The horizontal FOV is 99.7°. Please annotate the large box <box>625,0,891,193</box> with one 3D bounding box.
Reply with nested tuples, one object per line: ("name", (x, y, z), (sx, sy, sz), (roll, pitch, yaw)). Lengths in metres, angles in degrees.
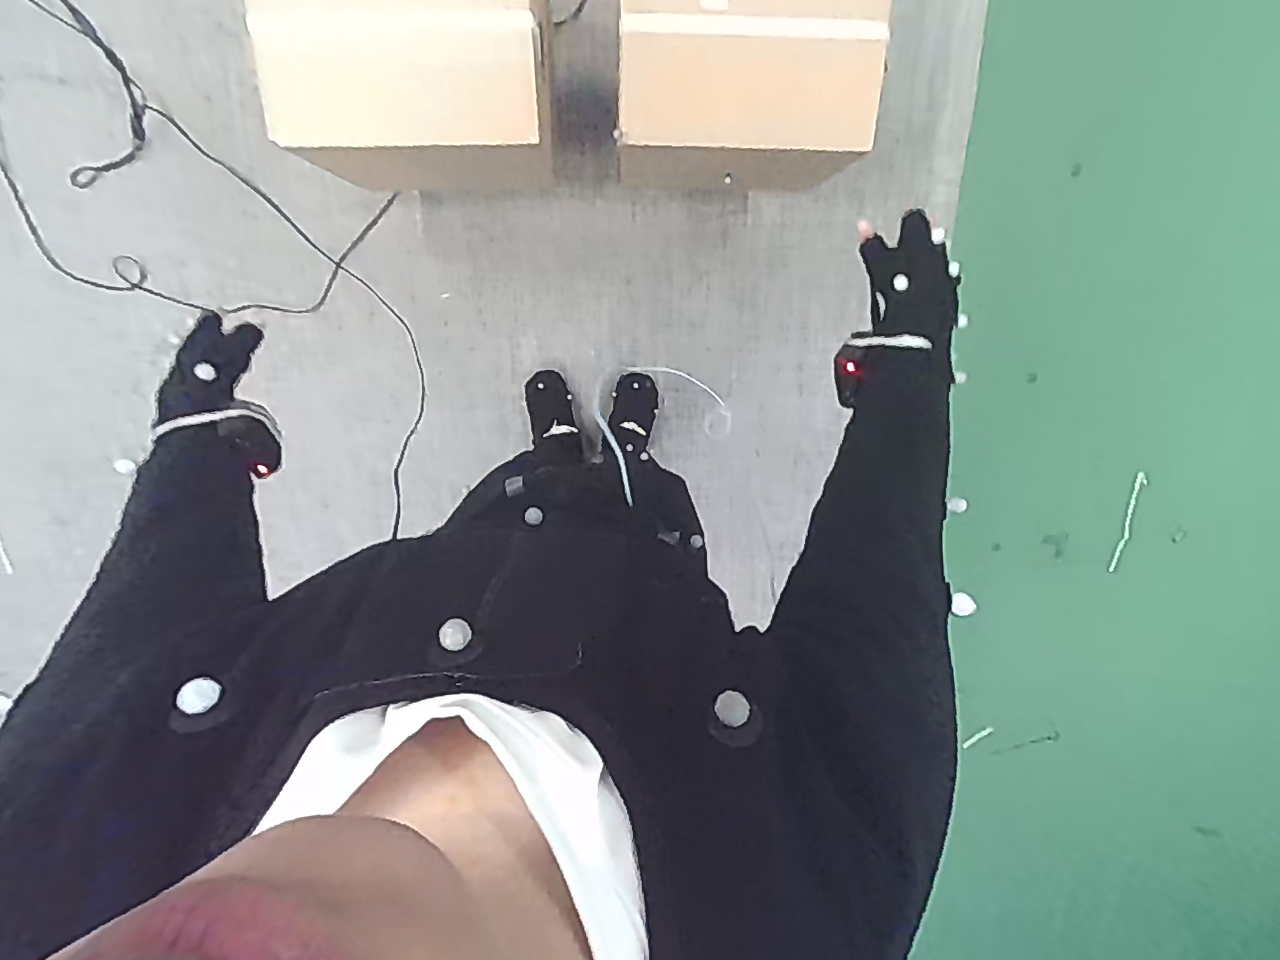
("large box", (0.177, -0.716, 0.970), (0.408, 0.320, 0.320), (1, 107, -2))
